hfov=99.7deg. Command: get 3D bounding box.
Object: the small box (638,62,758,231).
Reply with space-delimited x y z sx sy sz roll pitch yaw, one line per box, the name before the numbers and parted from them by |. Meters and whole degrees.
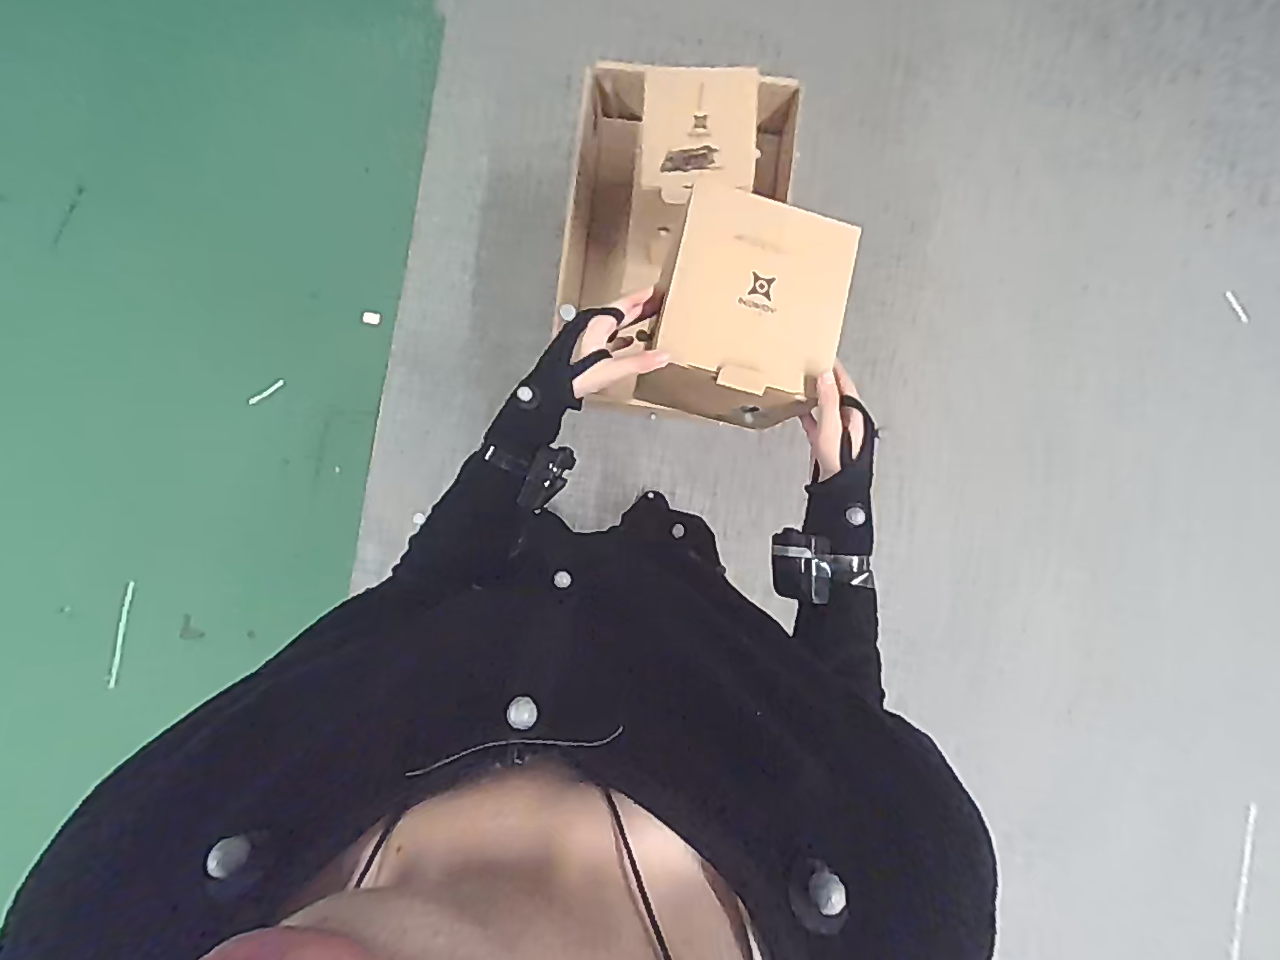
small box | 0.088 -0.516 0.860 0.168 0.176 0.179 3 91 2
